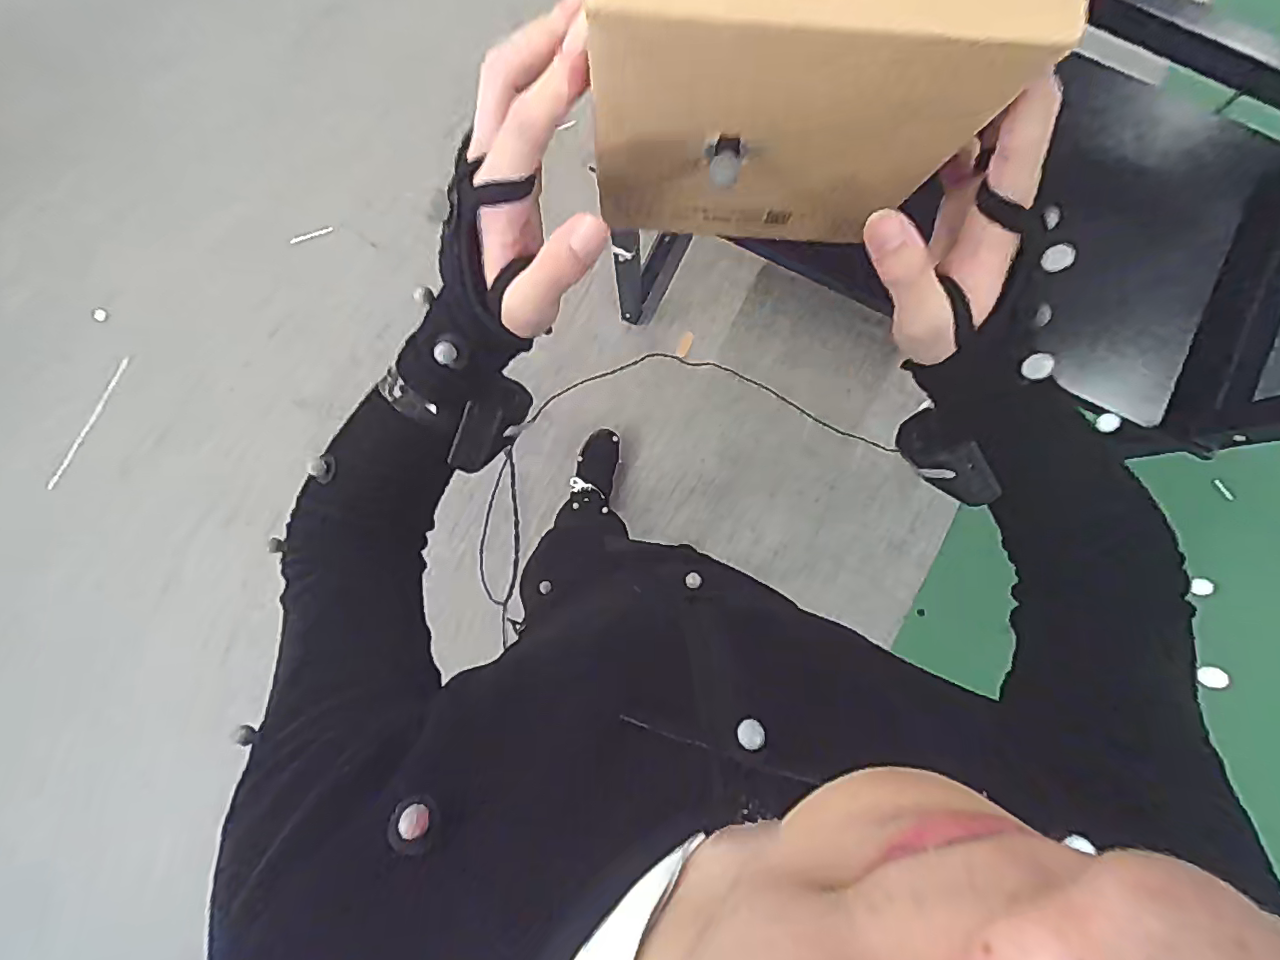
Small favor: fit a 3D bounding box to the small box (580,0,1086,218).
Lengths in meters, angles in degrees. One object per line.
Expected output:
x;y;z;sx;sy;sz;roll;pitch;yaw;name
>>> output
0.065;-0.241;0.243;0.168;0.176;0.179;3;92;-2;small box
